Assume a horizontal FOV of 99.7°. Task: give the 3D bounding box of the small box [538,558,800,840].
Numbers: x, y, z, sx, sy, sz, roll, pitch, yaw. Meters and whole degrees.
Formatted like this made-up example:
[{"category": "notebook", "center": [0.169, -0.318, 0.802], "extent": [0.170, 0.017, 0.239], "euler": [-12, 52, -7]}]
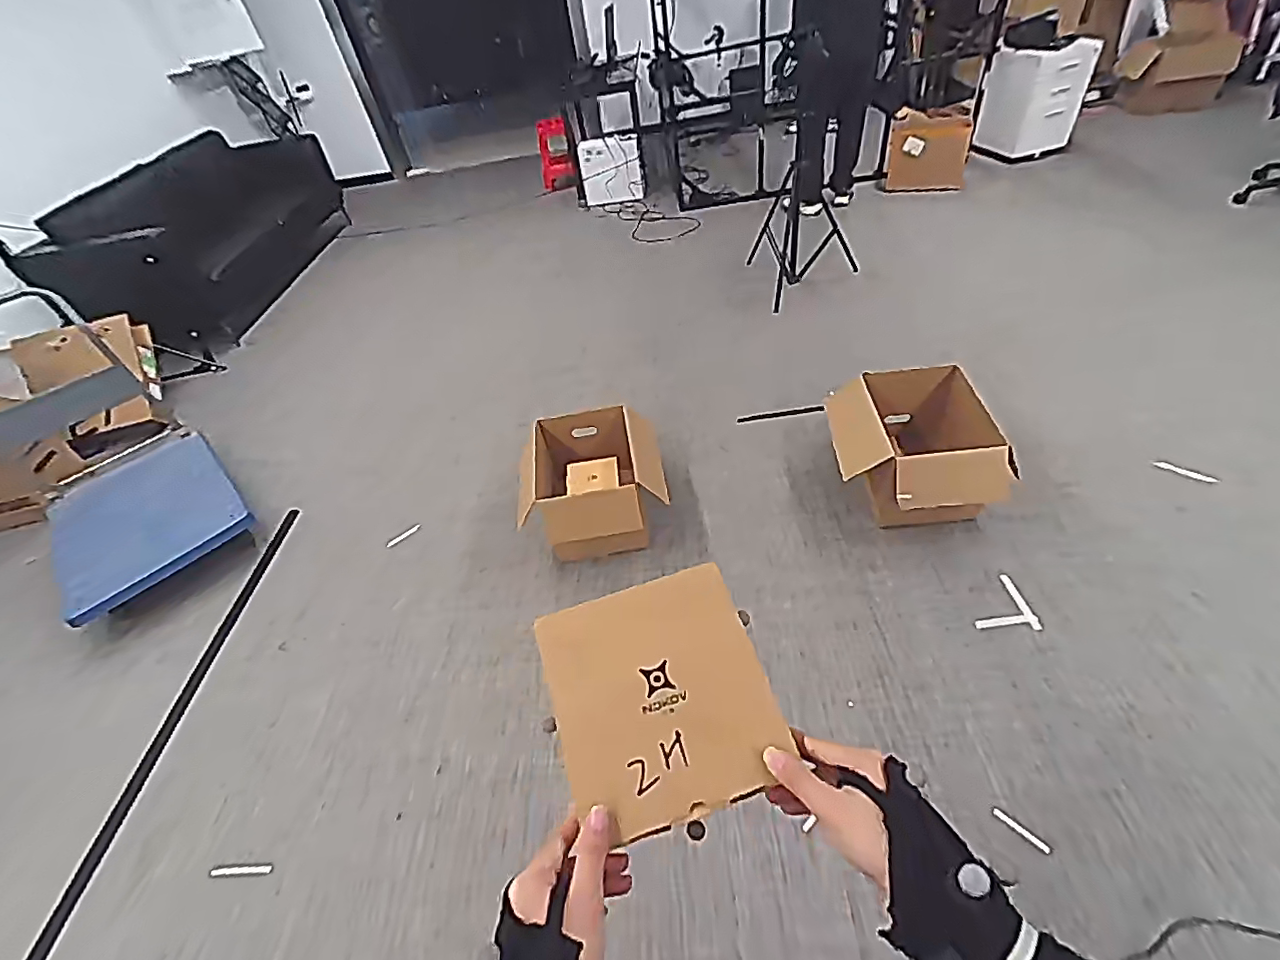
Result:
[{"category": "small box", "center": [0.016, 0.201, 0.490], "extent": [0.168, 0.176, 0.179], "euler": [-16, 59, -8]}]
